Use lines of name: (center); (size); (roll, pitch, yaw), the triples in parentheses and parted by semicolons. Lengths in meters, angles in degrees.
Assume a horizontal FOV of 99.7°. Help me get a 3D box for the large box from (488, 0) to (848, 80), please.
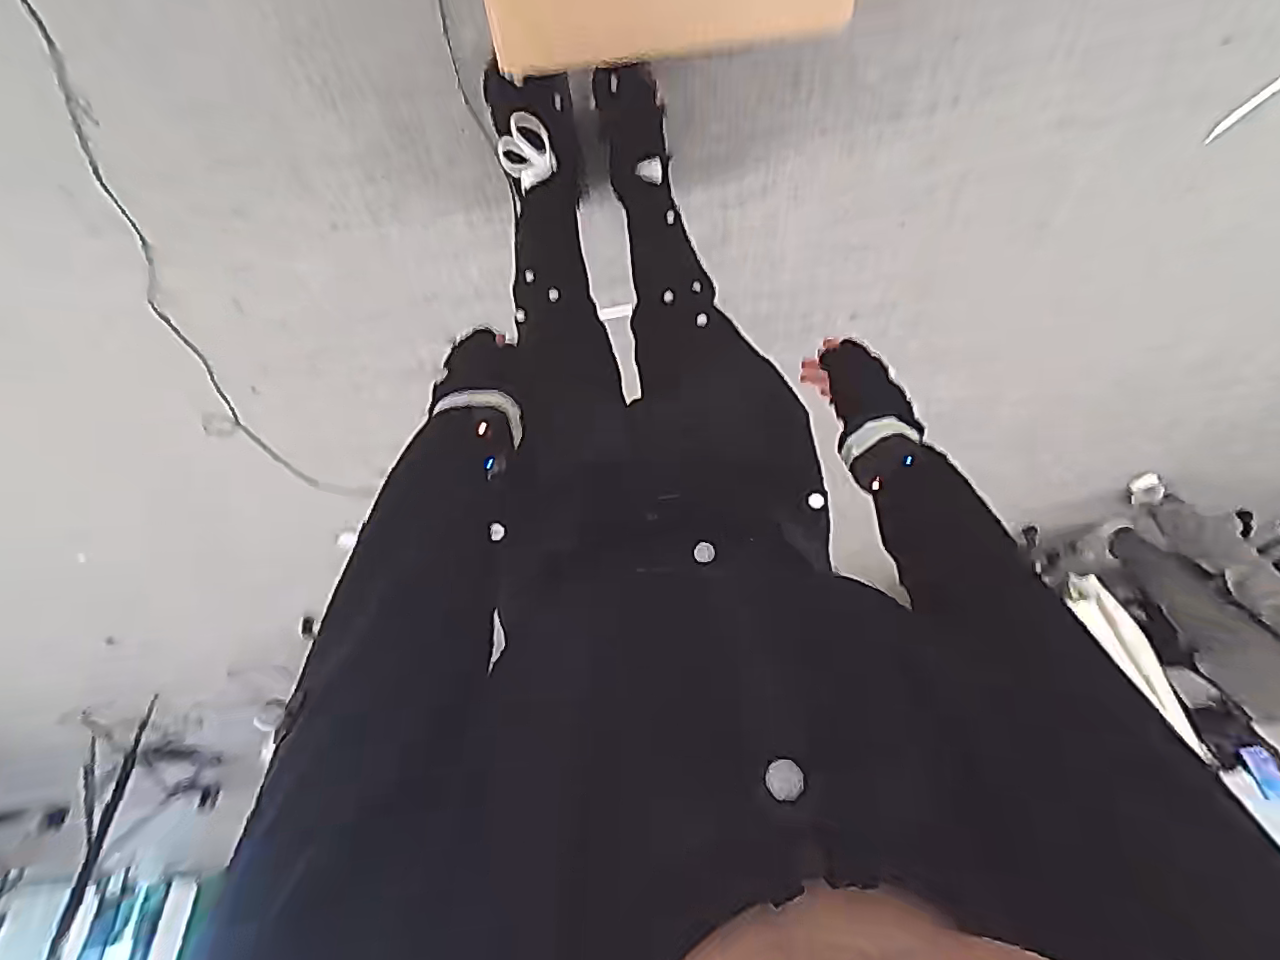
large box: (0.007, -0.701, 0.600); (0.408, 0.320, 0.320); (-9, 143, -1)
